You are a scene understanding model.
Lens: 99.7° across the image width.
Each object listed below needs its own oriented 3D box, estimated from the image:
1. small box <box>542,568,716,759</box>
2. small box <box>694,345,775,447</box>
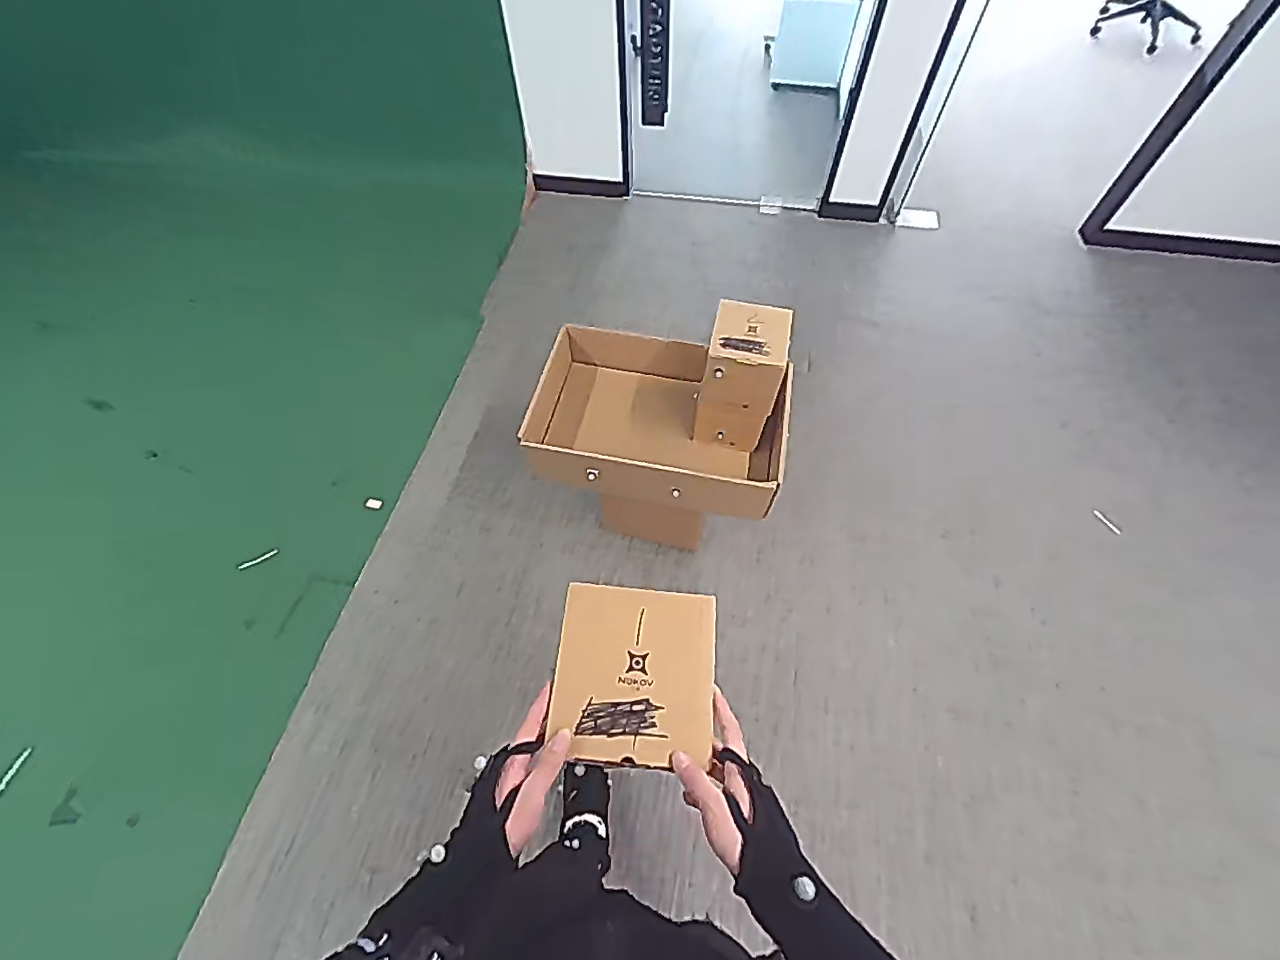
[{"bbox_3d":[-0.009,0.219,0.628,0.168,0.176,0.179,6,62,0],"label":"small box"},{"bbox_3d":[0.236,-0.210,1.375,0.168,0.176,0.179,11,61,6],"label":"small box"}]
